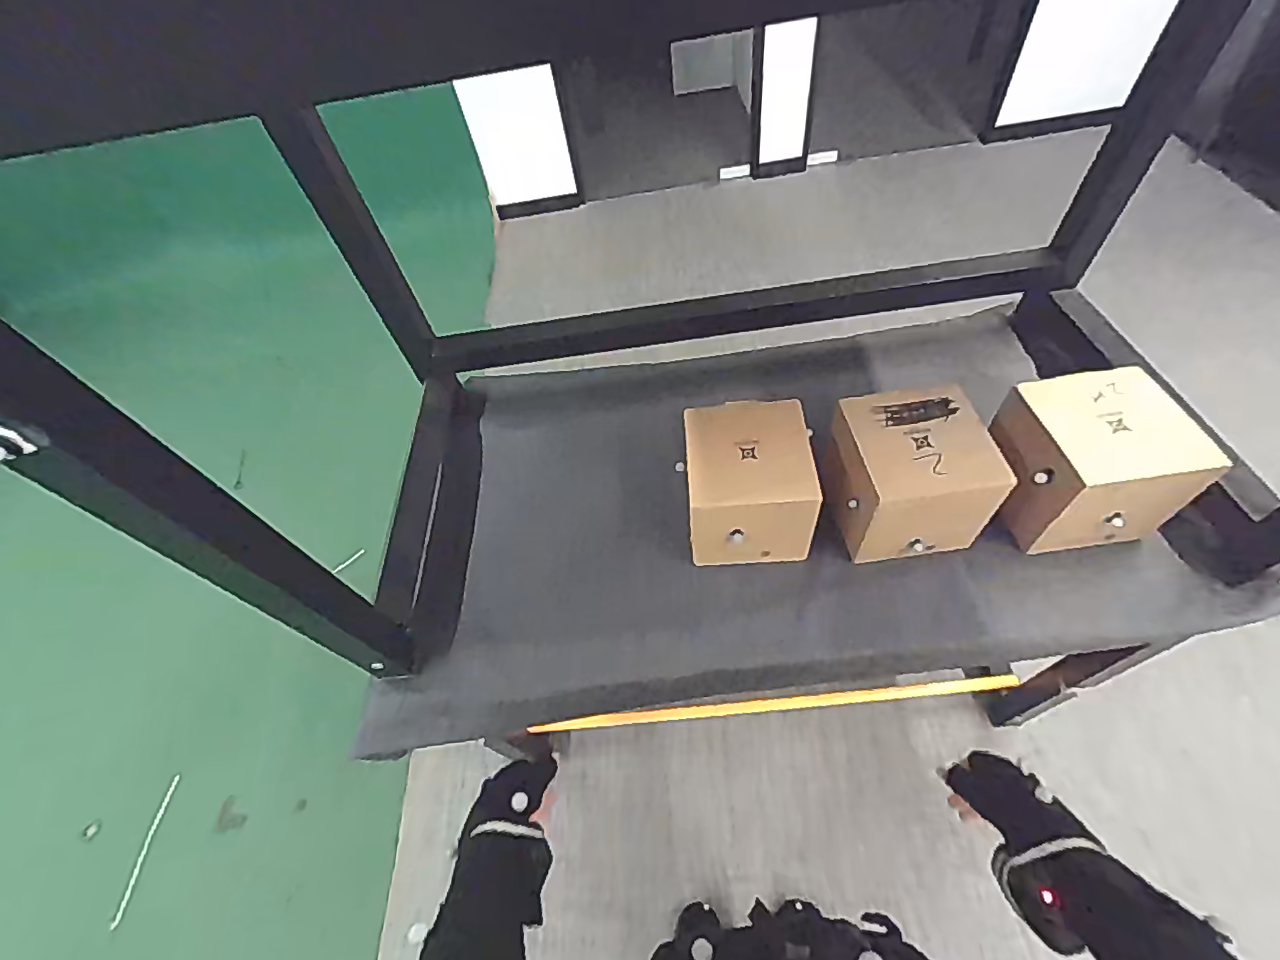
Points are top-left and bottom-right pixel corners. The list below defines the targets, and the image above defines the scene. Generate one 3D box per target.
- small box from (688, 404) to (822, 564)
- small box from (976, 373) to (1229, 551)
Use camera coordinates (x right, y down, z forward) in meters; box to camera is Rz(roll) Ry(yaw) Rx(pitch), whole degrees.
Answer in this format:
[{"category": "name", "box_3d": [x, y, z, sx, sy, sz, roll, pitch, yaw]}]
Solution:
[{"category": "small box", "box_3d": [0.159, 0.013, 0.791, 0.168, 0.176, 0.179, -4, 53, 6]}, {"category": "small box", "box_3d": [0.604, -0.016, 0.740, 0.168, 0.176, 0.179, -8, 52, 3]}]
